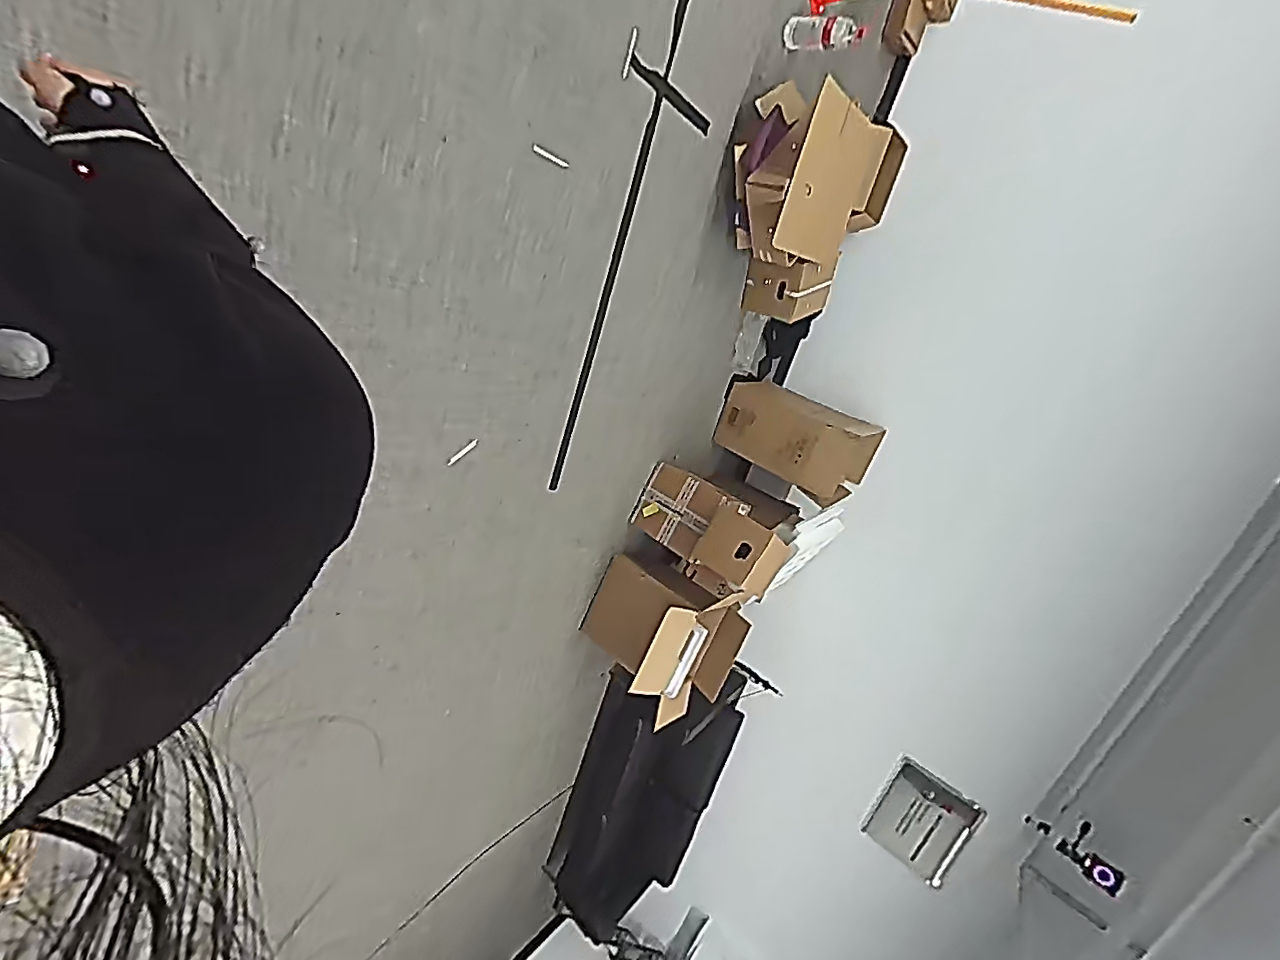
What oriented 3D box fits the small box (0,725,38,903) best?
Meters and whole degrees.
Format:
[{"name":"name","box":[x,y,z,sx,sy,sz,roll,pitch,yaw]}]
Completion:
[{"name":"small box","box":[-0.895,0.441,0.681,0.168,0.176,0.179,-5,118,-53]}]
